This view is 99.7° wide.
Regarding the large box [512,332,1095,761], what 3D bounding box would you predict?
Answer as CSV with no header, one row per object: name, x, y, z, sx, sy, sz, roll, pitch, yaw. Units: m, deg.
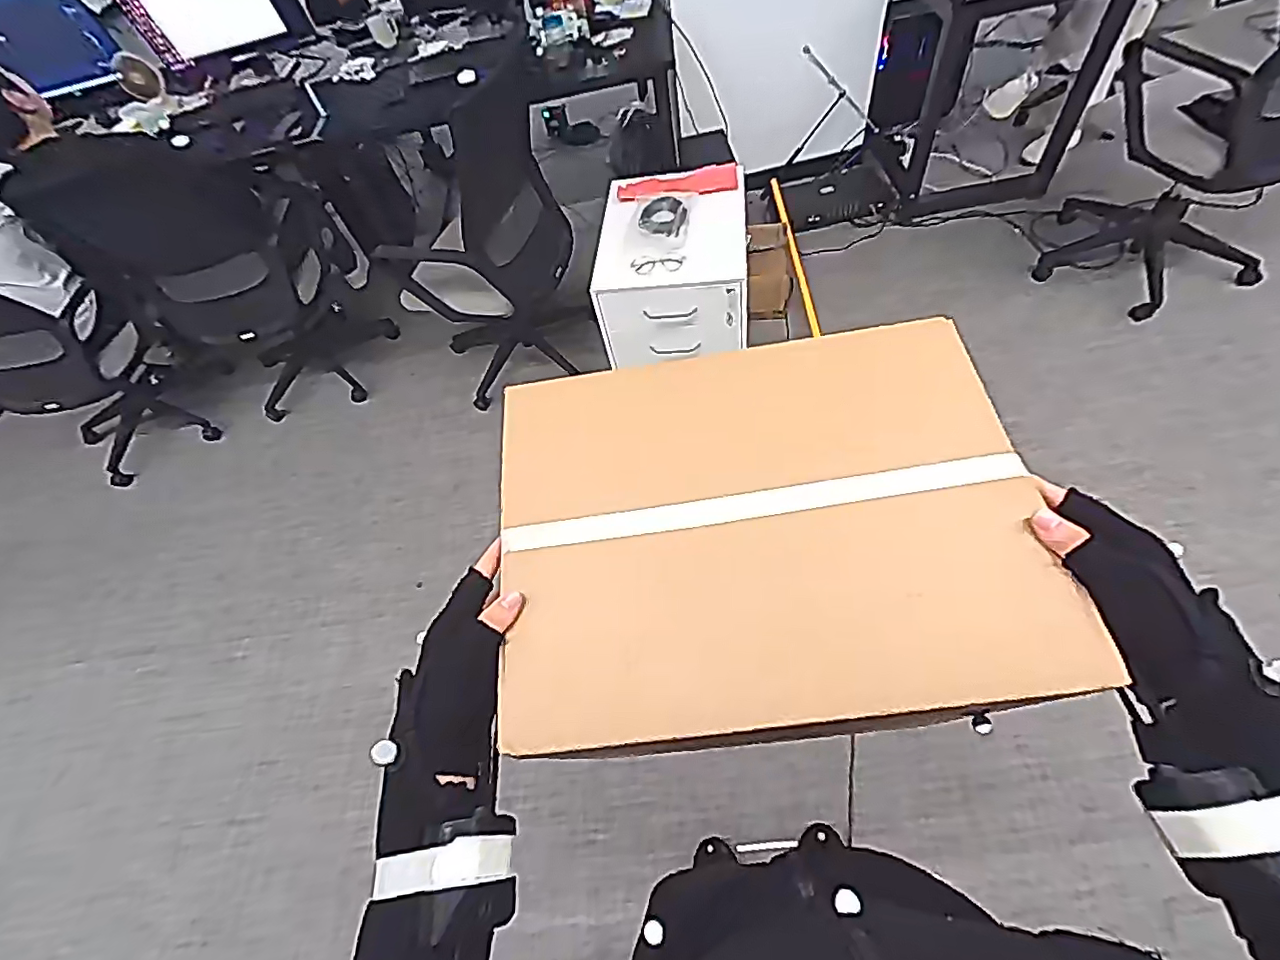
large box,0.111,0.097,0.566,0.408,0.320,0.320,-9,61,4
